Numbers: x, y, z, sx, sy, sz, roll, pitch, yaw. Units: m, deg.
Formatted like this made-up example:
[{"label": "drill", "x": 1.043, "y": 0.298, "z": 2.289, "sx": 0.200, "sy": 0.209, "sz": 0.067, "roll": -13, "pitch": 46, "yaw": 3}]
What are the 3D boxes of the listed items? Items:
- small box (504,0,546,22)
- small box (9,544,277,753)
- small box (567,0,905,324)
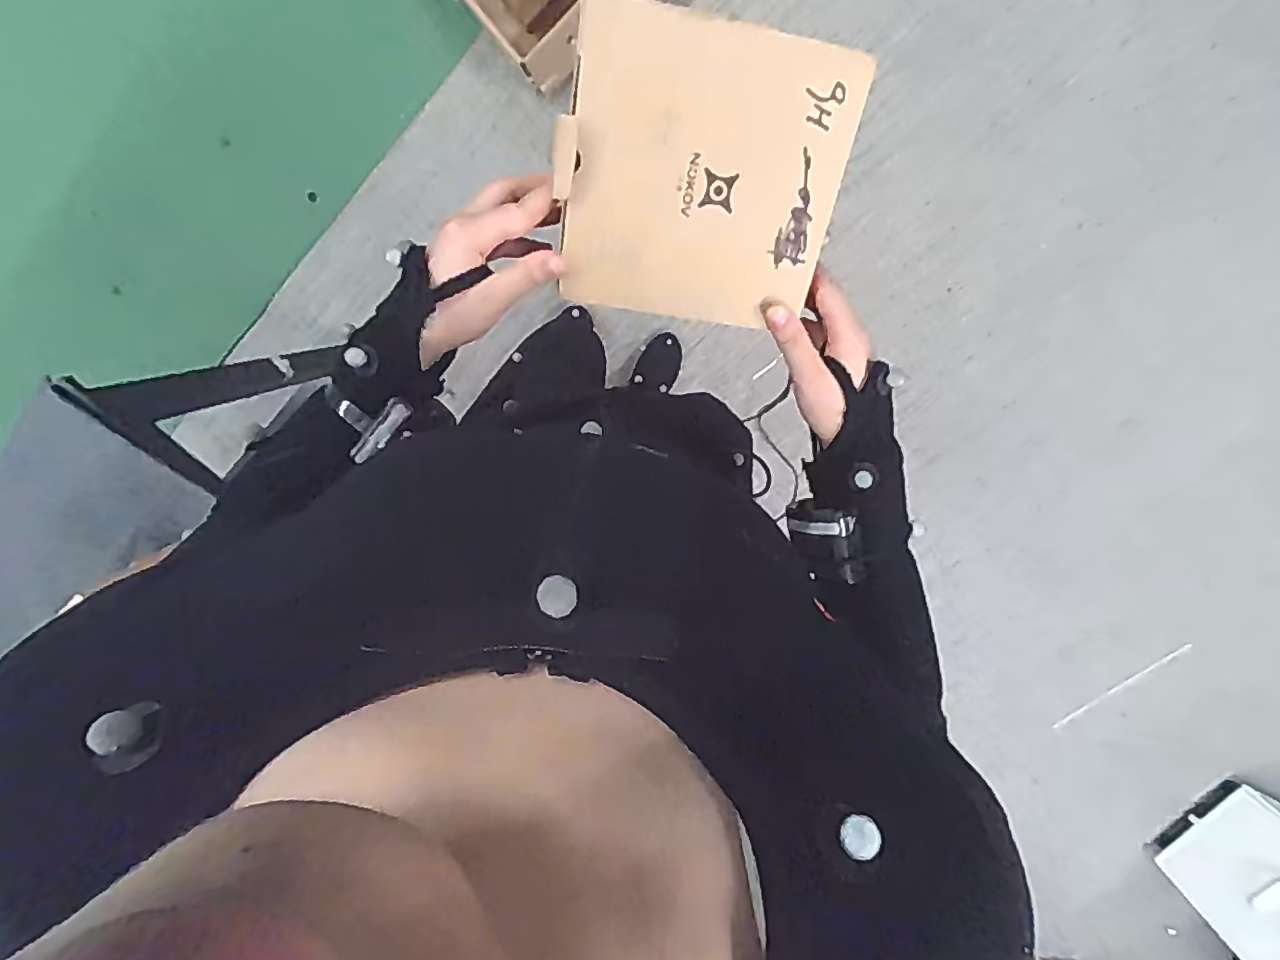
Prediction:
[{"label": "small box", "x": -0.231, "y": -1.027, "z": 1.014, "sx": 0.179, "sy": 0.176, "sz": 0.168, "roll": -40, "pitch": 105, "yaw": 12}, {"label": "small box", "x": -0.656, "y": 0.220, "z": 0.740, "sx": 0.168, "sy": 0.176, "sz": 0.179, "roll": -37, "pitch": 103, "yaw": 13}, {"label": "small box", "x": 0.045, "y": -0.229, "z": 0.398, "sx": 0.179, "sy": 0.176, "sz": 0.168, "roll": 7, "pitch": 119, "yaw": -10}]
